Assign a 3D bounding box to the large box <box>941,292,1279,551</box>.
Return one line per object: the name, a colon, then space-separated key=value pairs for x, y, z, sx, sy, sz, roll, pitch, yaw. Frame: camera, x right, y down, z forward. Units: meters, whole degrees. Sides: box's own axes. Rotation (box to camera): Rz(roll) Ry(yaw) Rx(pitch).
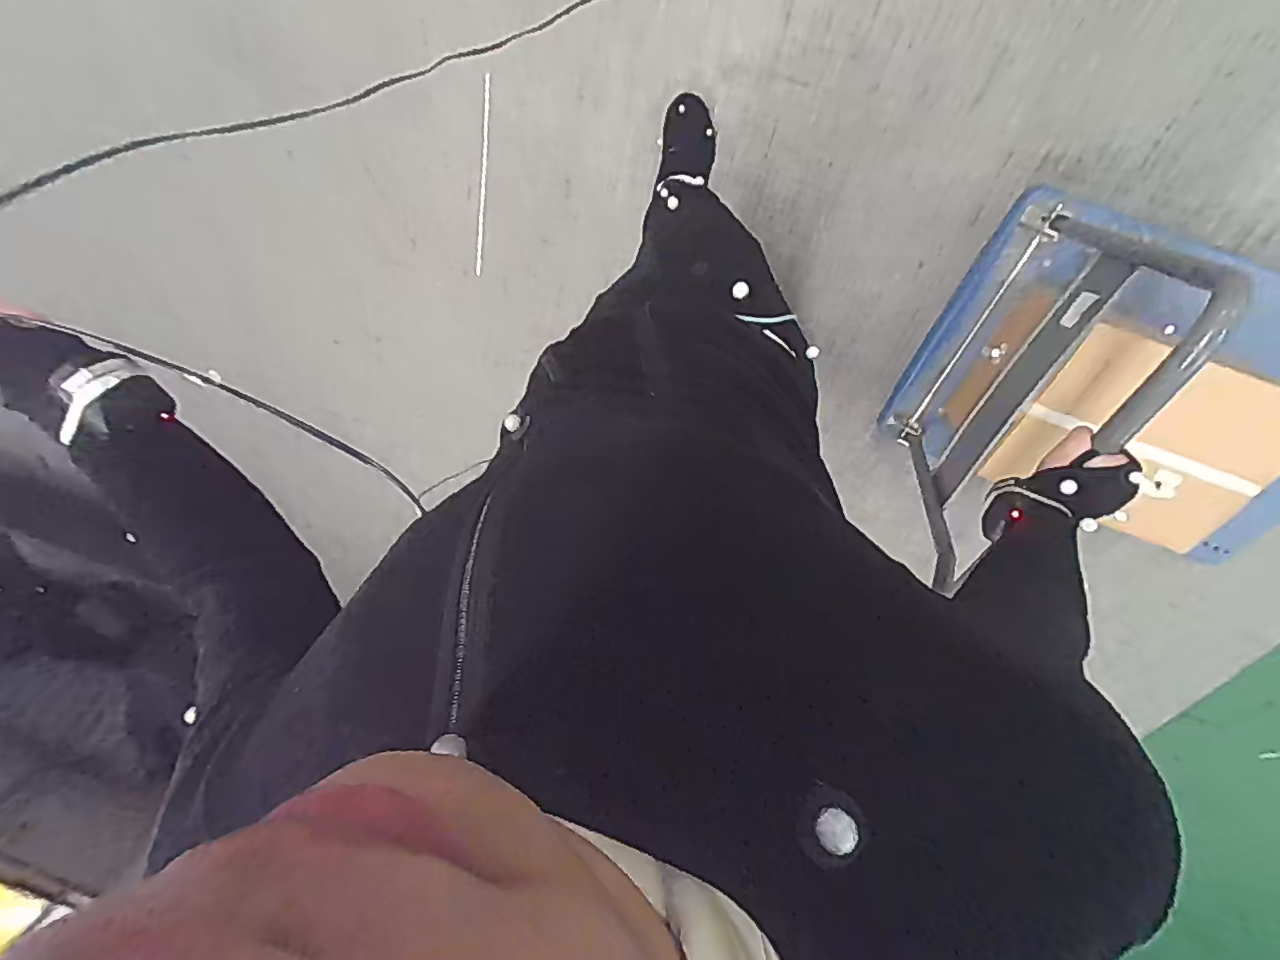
large box: x=0.892 y=-0.130 z=1.057 sx=0.408 sy=0.320 sz=0.320 roll=22 pitch=125 yaw=3
